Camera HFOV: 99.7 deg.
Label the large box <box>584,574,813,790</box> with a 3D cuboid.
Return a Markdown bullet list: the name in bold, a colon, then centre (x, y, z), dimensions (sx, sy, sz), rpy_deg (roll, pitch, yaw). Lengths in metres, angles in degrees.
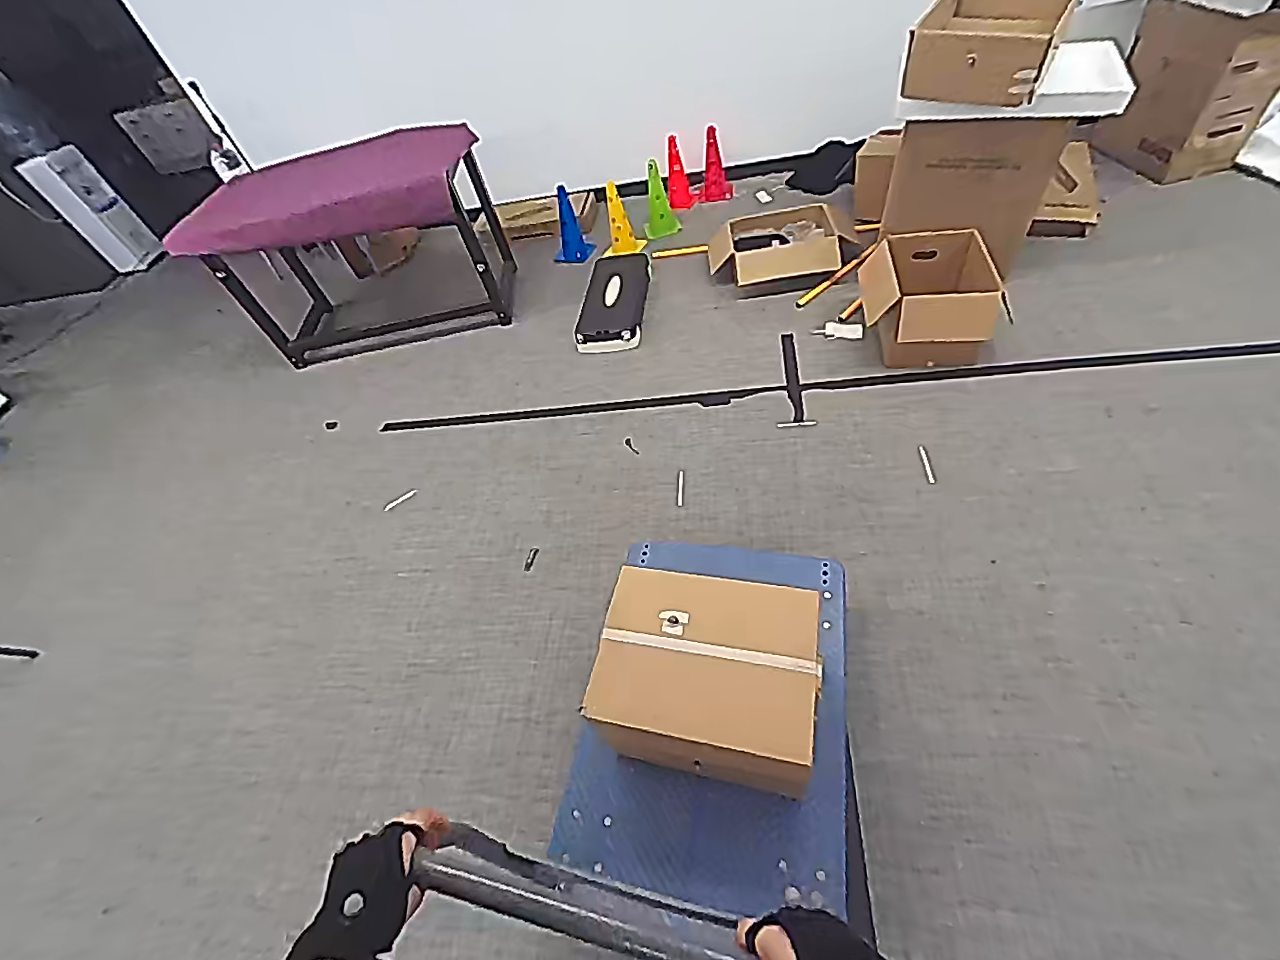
- **large box**: centre (0.148, 0.423, 1.141), dimensions (0.408, 0.320, 0.320), rpy_deg (4, 52, 17)
